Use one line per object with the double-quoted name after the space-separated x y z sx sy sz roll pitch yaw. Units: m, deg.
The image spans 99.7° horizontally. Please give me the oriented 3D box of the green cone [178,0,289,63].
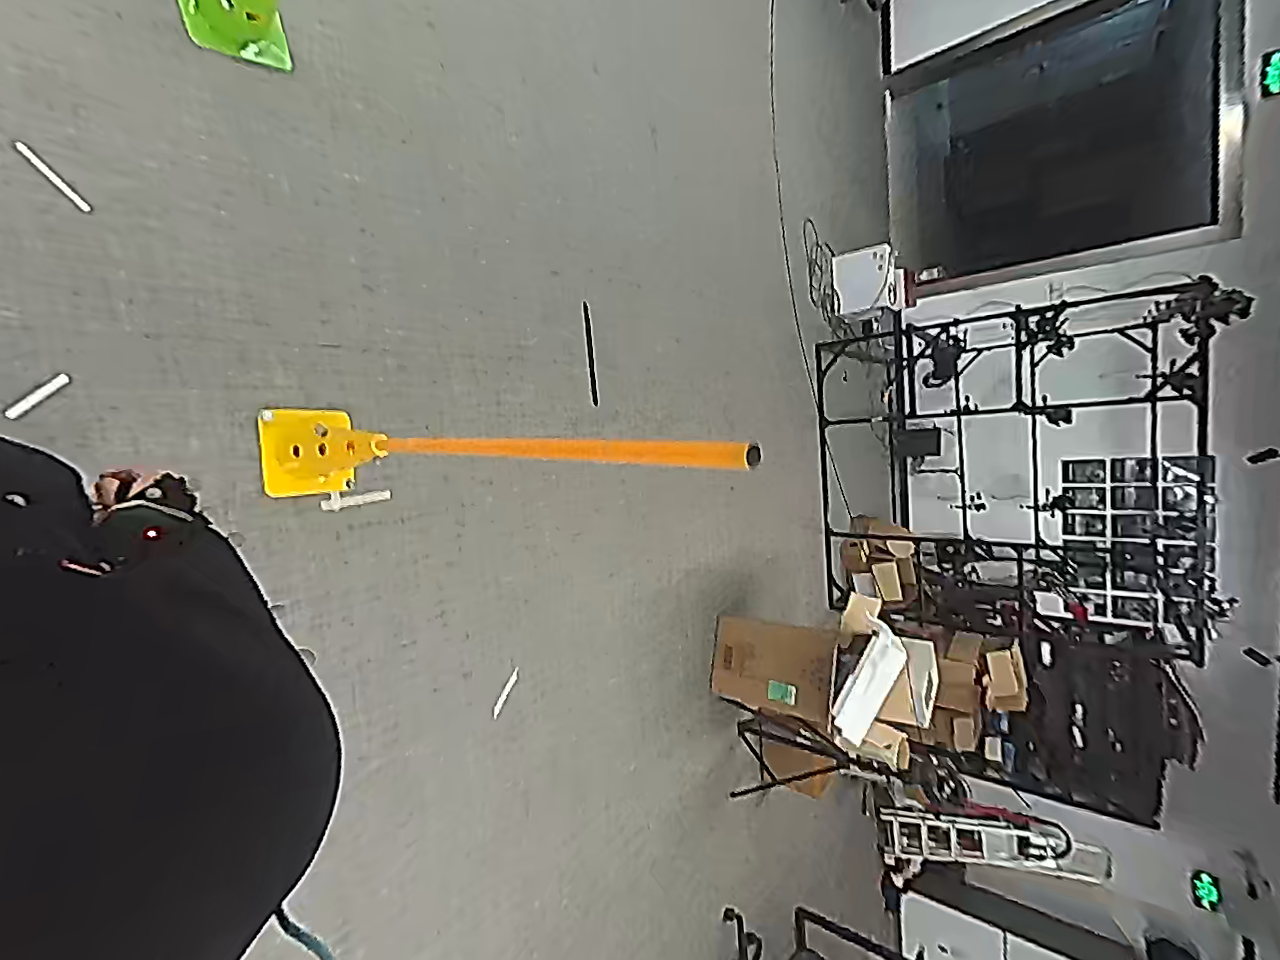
-0.751 -1.030 1.060 0.200 0.368 0.202 -26 112 -49 "green cone"
